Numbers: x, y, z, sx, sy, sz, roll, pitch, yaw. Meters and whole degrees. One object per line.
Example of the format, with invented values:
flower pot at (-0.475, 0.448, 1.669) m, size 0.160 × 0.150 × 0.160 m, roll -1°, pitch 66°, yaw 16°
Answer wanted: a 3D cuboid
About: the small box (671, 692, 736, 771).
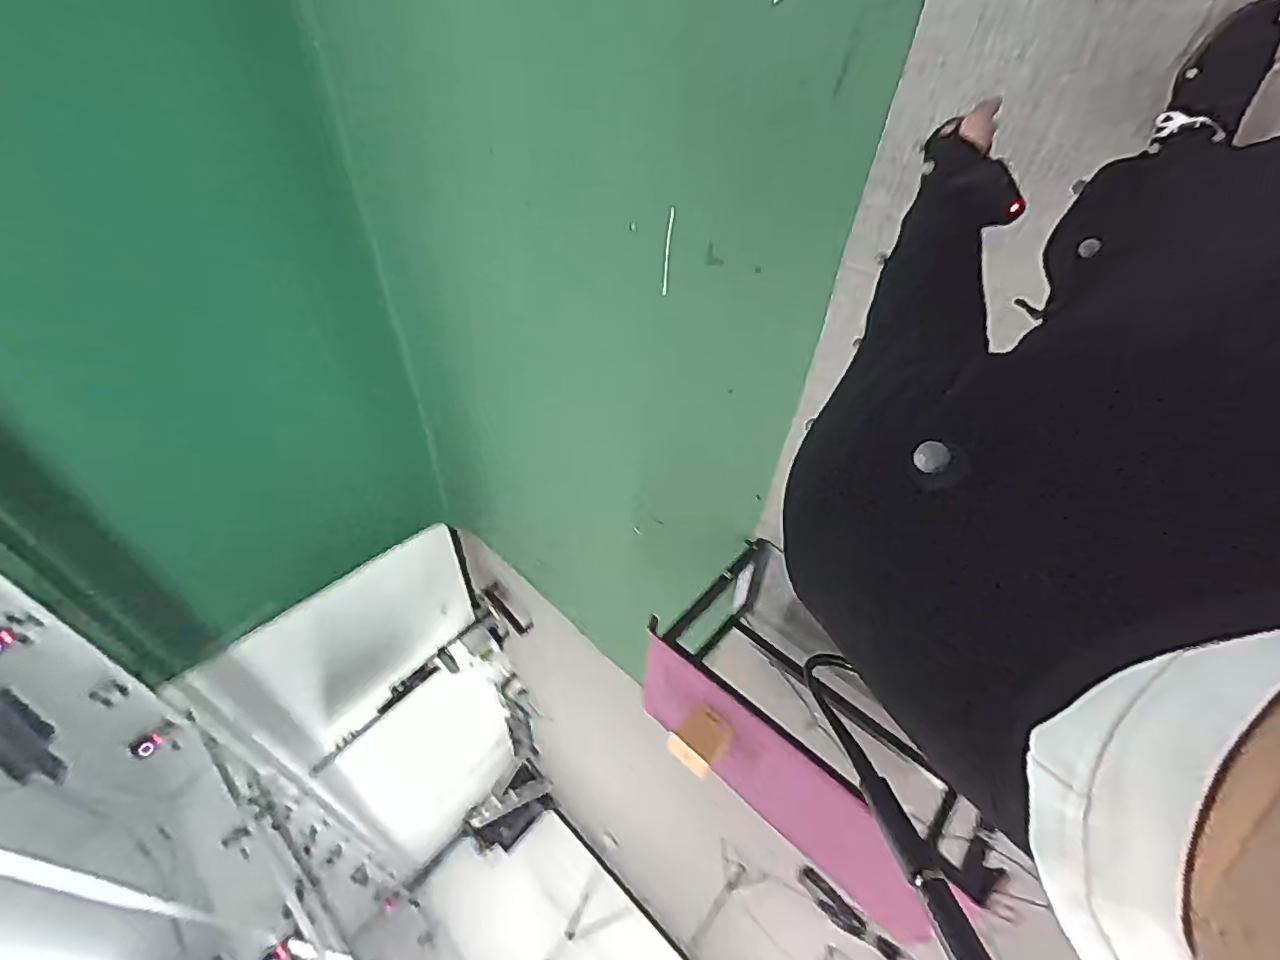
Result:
small box at (0.234, 0.925, 1.997) m, size 0.168 × 0.176 × 0.179 m, roll 34°, pitch 143°, yaw 25°
